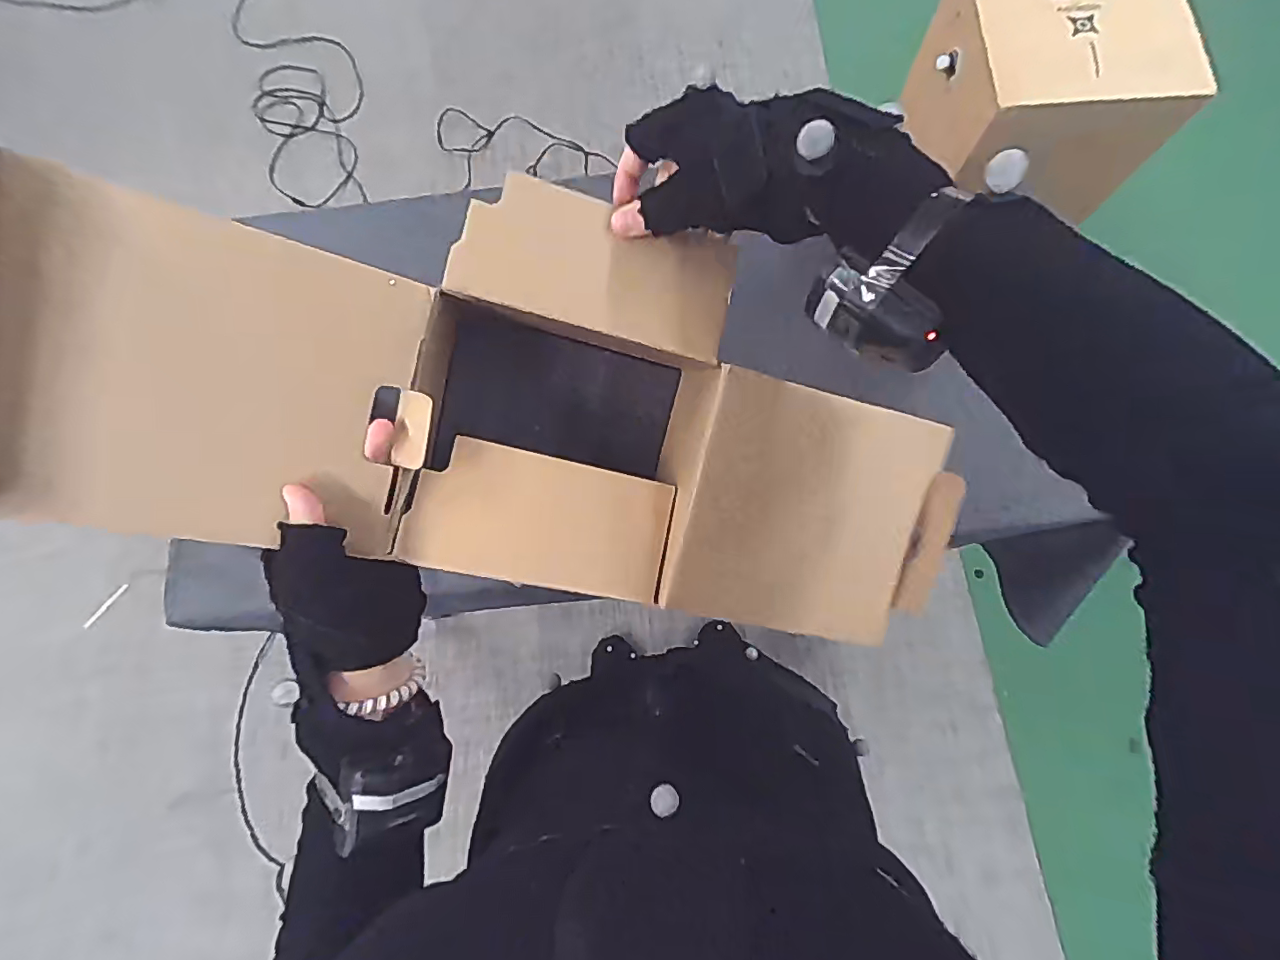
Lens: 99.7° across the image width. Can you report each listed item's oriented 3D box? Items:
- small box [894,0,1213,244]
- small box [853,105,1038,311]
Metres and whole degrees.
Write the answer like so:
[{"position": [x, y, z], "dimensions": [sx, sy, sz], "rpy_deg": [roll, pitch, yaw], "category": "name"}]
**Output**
[{"position": [0.364, -0.357, 0.518], "dimensions": [0.168, 0.176, 0.179], "rpy_deg": [-1, 76, 3], "category": "small box"}, {"position": [0.379, -0.332, 0.681], "dimensions": [0.179, 0.176, 0.168], "rpy_deg": [5, 75, 4], "category": "small box"}]
